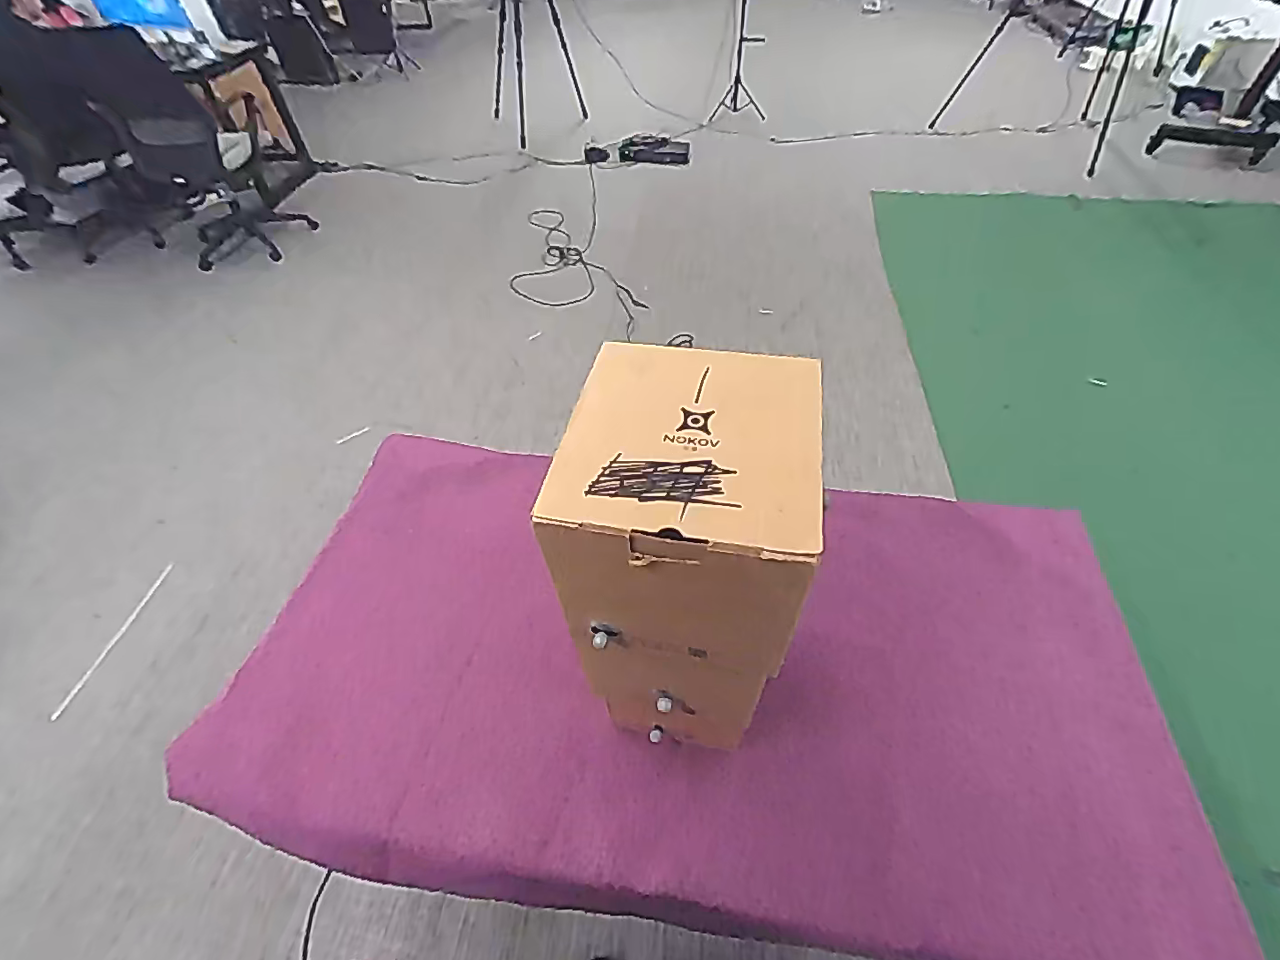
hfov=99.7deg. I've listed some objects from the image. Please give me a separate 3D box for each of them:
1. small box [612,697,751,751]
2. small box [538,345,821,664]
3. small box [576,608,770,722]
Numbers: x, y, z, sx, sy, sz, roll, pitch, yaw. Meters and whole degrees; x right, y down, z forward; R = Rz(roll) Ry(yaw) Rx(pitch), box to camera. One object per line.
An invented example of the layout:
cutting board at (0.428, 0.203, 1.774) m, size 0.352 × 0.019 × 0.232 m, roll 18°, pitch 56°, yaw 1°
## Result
small box at (0.059, 0.214, 0.685) m, size 0.168 × 0.176 × 0.179 m, roll 8°, pitch 51°, yaw 11°
small box at (0.040, 0.020, 0.420) m, size 0.168 × 0.176 × 0.179 m, roll 8°, pitch 50°, yaw 10°
small box at (0.045, 0.119, 0.551) m, size 0.168 × 0.176 × 0.179 m, roll 7°, pitch 50°, yaw 10°
